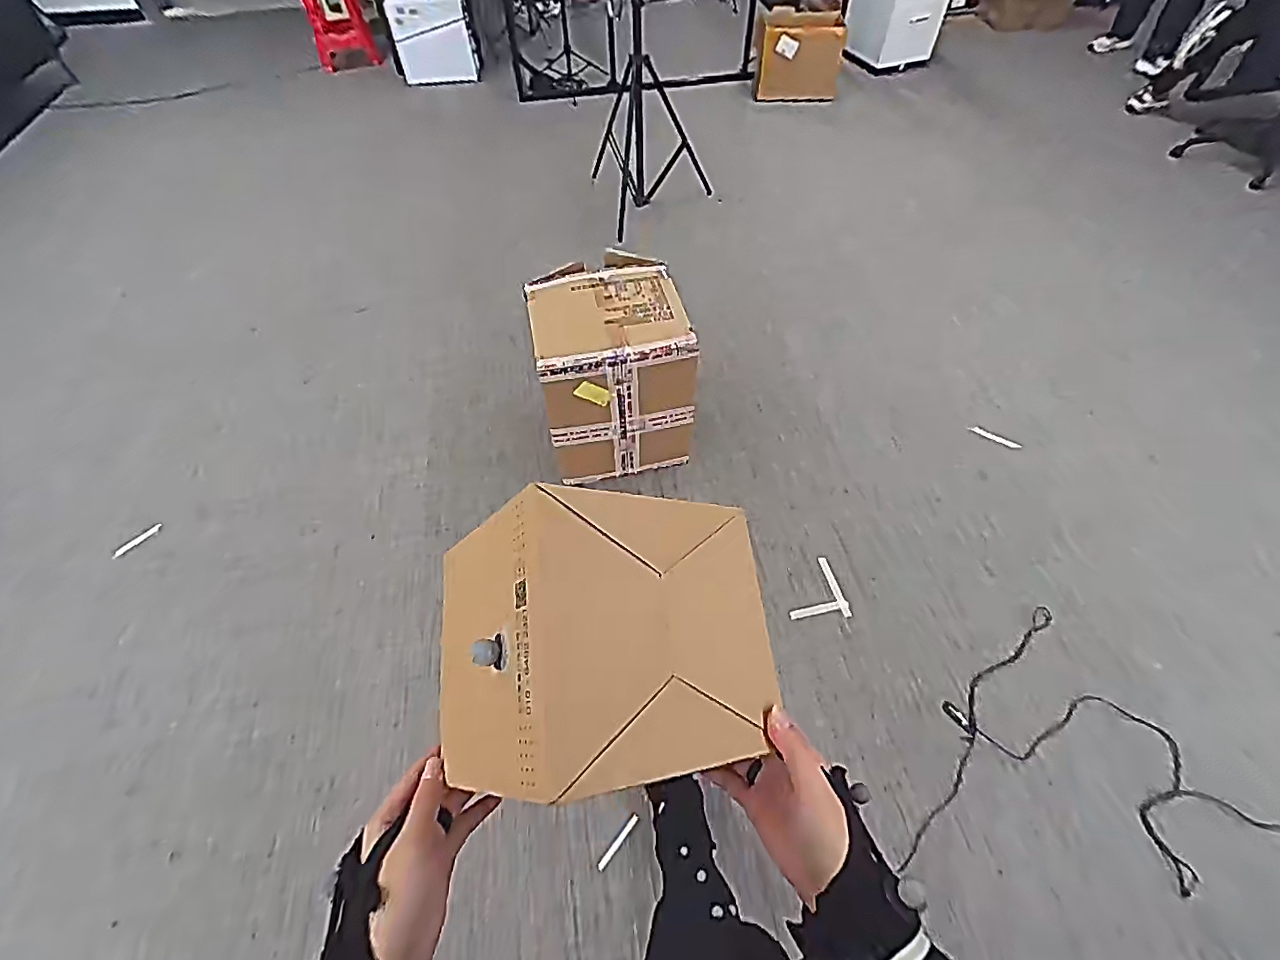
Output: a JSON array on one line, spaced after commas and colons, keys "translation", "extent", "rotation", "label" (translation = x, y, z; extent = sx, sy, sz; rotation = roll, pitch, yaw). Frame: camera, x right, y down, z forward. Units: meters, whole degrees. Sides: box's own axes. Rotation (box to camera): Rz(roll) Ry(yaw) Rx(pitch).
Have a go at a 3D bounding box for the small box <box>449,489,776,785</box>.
[{"translation": [-0.027, 0.116, 0.398], "extent": [0.179, 0.176, 0.168], "rotation": [9, 63, -35], "label": "small box"}]
